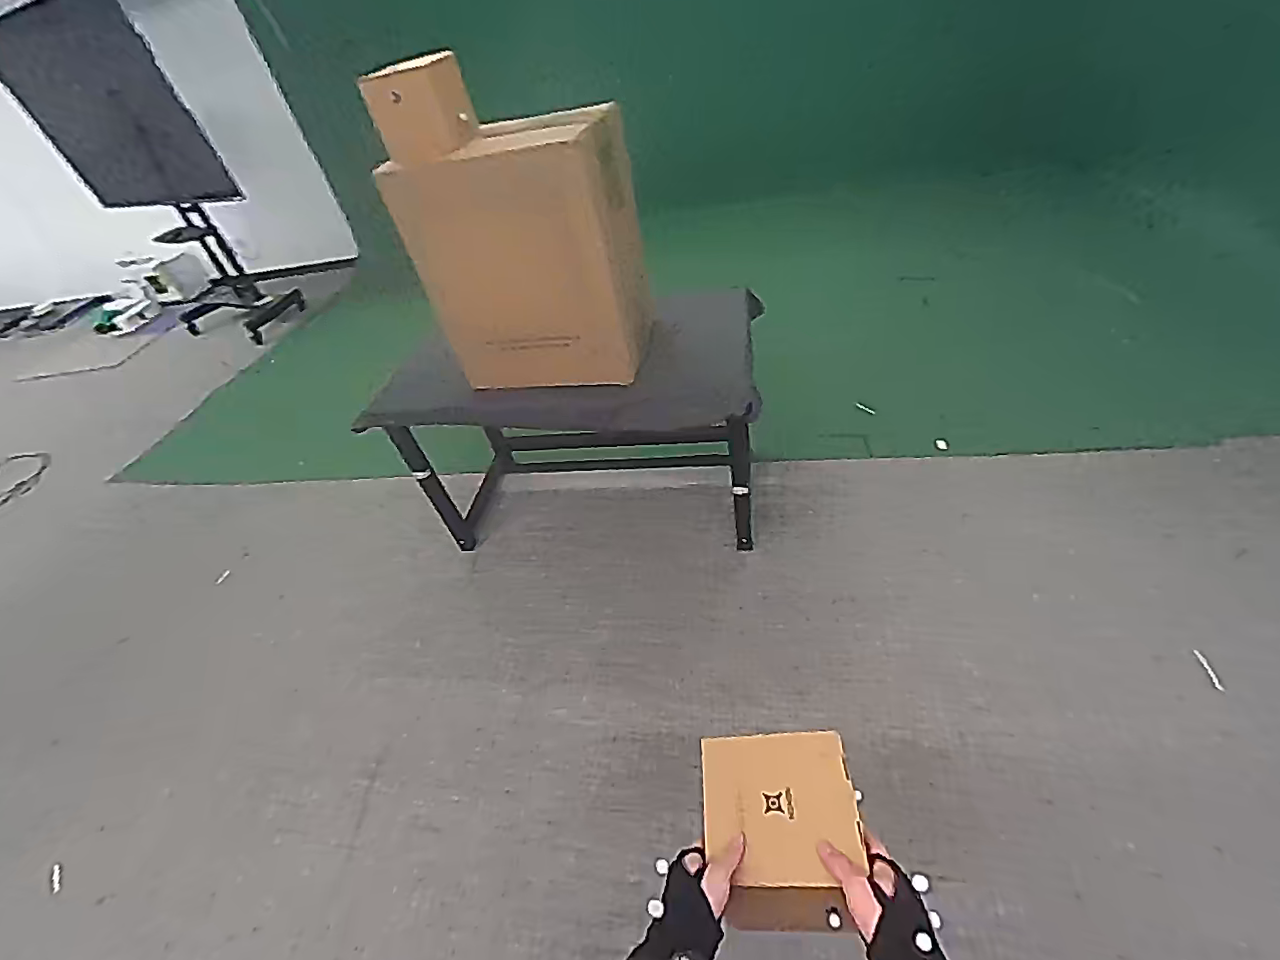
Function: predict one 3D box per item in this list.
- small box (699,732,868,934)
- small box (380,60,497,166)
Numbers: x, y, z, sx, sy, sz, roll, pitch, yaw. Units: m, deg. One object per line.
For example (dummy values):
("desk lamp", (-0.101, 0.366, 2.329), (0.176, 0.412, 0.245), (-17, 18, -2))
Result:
("small box", (0.177, 0.444, 0.683), (0.179, 0.176, 0.168), (-11, 34, 12))
("small box", (-0.482, -0.888, 1.319), (0.179, 0.176, 0.168), (1, 48, 18))
